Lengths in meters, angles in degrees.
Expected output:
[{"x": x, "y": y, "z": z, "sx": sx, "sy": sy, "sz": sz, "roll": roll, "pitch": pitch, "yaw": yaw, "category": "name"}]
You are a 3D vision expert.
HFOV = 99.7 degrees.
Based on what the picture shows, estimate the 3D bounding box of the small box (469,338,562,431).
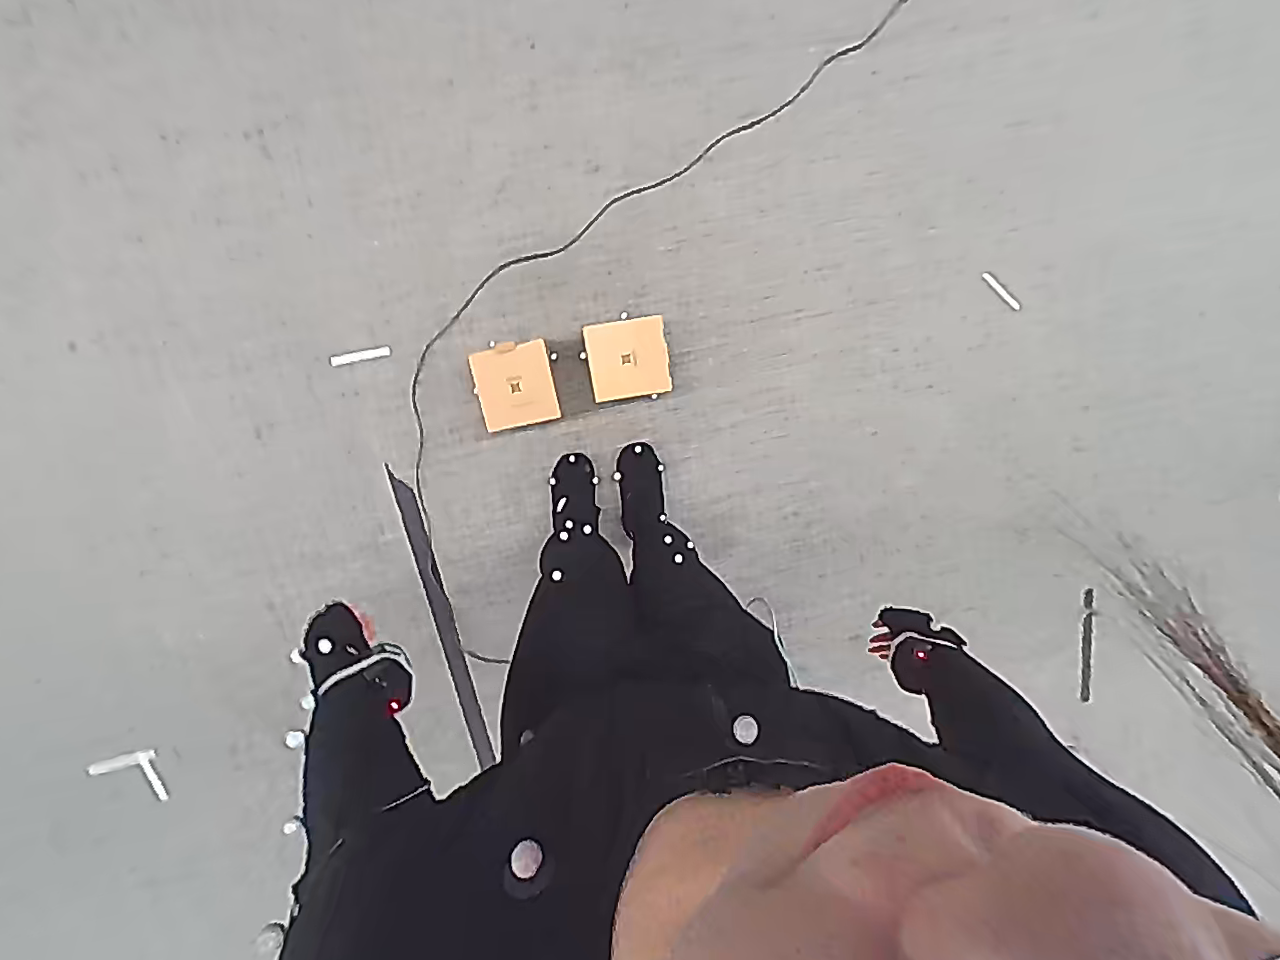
[{"x": -0.279, "y": -0.223, "z": 1.247, "sx": 0.168, "sy": 0.176, "sz": 0.179, "roll": -12, "pitch": 105, "yaw": -2, "category": "small box"}]

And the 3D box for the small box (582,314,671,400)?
[{"x": -0.036, "y": -0.284, "z": 1.261, "sx": 0.179, "sy": 0.176, "sz": 0.168, "roll": -11, "pitch": 104, "yaw": -5, "category": "small box"}]
